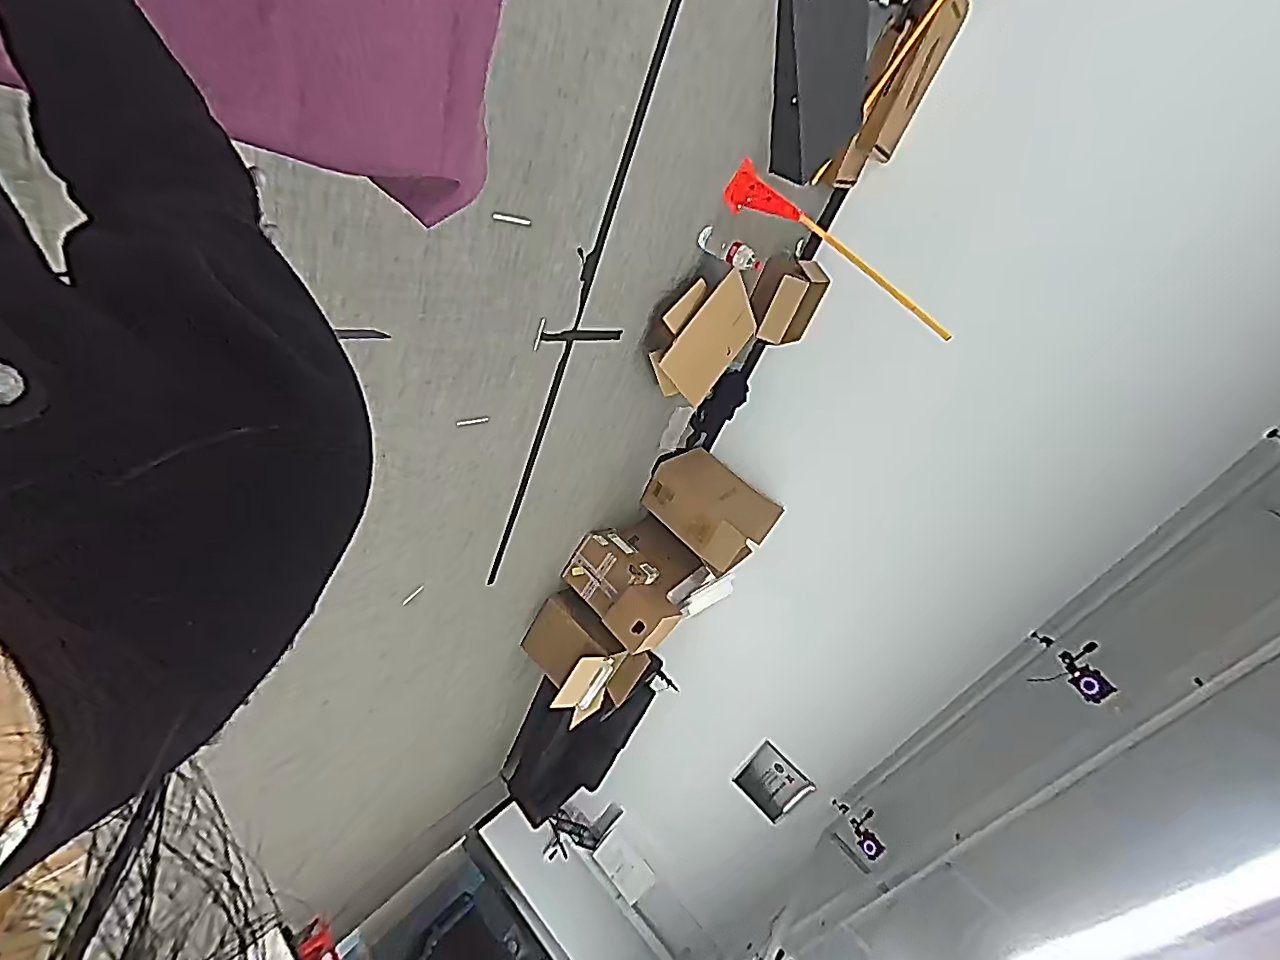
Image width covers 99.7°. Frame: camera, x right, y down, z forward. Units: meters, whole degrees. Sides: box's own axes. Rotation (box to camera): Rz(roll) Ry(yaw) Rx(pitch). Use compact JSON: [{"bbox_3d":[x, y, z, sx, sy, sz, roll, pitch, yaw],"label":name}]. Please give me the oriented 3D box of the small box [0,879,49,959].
[{"bbox_3d":[-1.760,1.237,1.459,0.179,0.176,0.168,-21,142,-49],"label":"small box"}]
